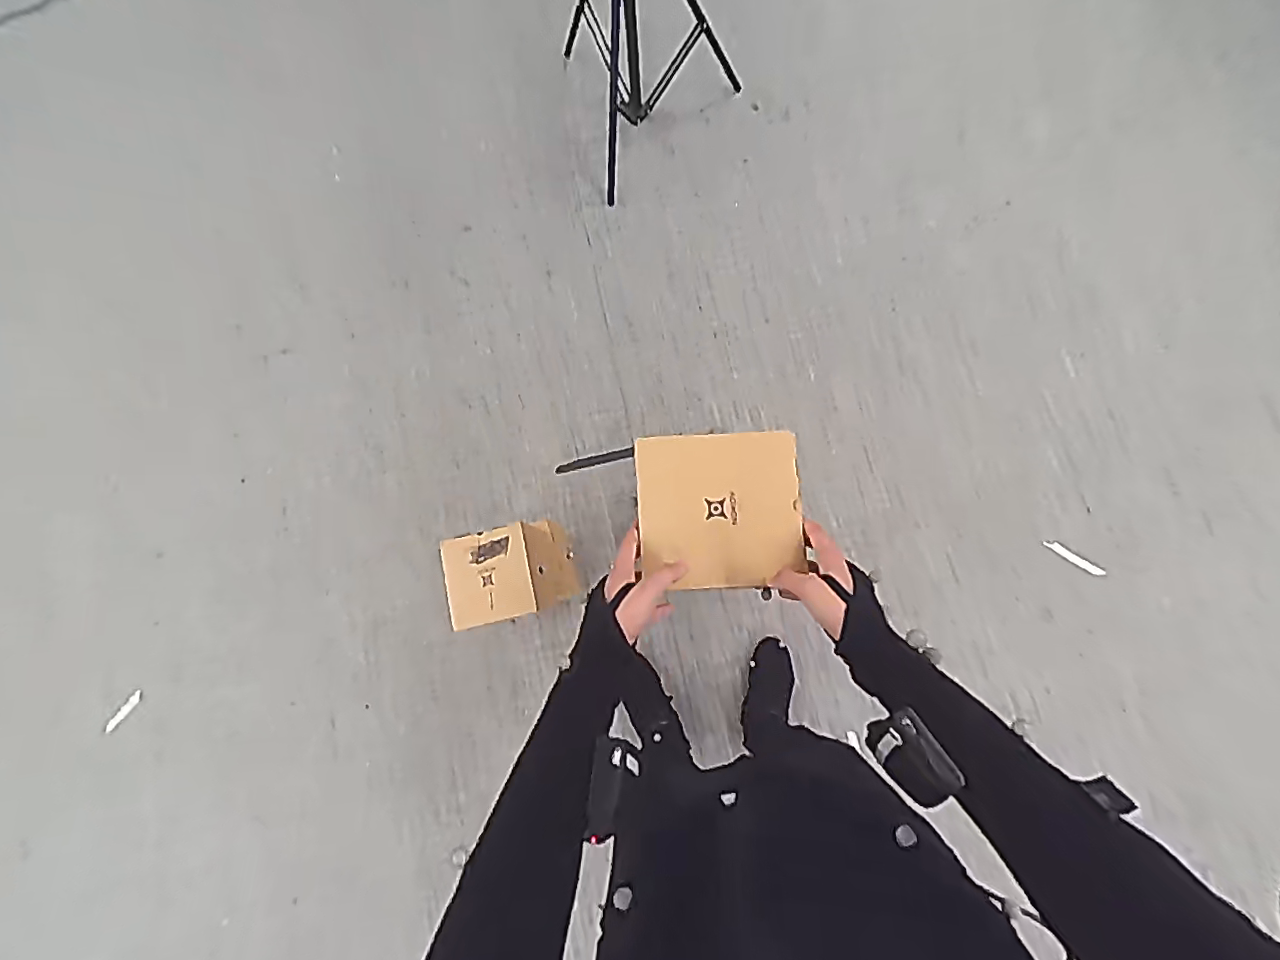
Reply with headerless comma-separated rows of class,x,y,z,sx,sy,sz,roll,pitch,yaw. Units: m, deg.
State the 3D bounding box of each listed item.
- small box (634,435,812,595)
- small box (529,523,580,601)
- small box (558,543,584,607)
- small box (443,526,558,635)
small box,0.085,0.050,0.641,0.179,0.176,0.168,-3,79,-1
small box,-0.254,0.211,1.259,0.179,0.176,0.168,-17,78,1
small box,-0.255,0.250,1.418,0.168,0.176,0.179,-16,78,1
small box,-0.275,0.204,1.094,0.168,0.176,0.179,-14,79,2
